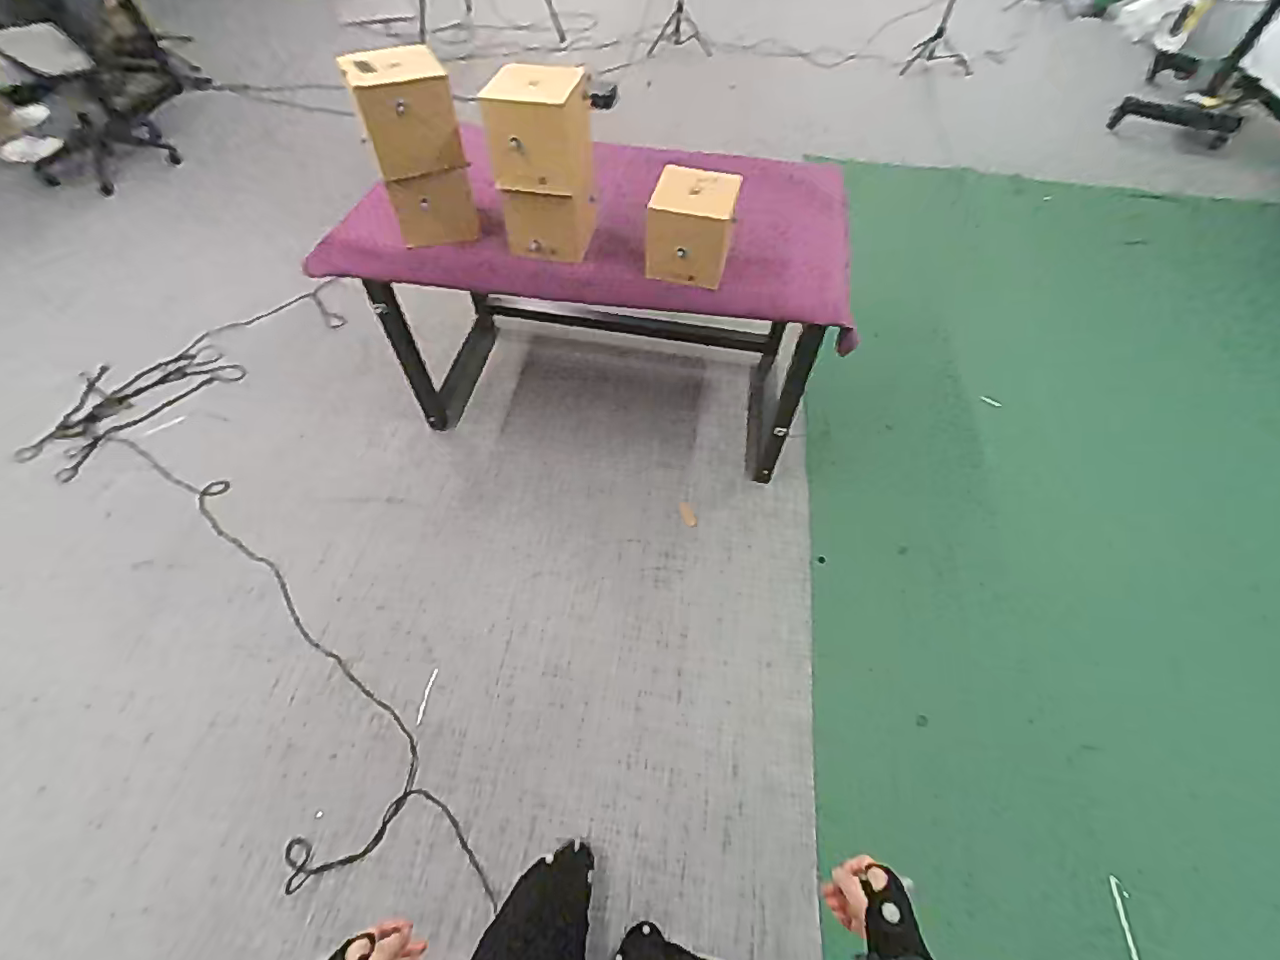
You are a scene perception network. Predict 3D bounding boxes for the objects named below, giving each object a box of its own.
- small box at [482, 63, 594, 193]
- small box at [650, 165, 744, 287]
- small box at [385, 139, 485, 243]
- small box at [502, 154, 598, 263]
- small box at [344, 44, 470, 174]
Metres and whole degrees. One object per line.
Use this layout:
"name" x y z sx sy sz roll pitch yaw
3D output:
"small box" -0.191 -0.701 1.082 0.168 0.176 0.179 9 54 6
"small box" 0.120 -0.552 1.183 0.168 0.176 0.179 14 57 7
"small box" -0.469 -0.670 1.247 0.179 0.176 0.168 -11 57 -9
"small box" -0.193 -0.622 1.224 0.168 0.176 0.179 10 55 6
"small box" -0.469 -0.752 1.103 0.179 0.176 0.168 -21 59 -17
